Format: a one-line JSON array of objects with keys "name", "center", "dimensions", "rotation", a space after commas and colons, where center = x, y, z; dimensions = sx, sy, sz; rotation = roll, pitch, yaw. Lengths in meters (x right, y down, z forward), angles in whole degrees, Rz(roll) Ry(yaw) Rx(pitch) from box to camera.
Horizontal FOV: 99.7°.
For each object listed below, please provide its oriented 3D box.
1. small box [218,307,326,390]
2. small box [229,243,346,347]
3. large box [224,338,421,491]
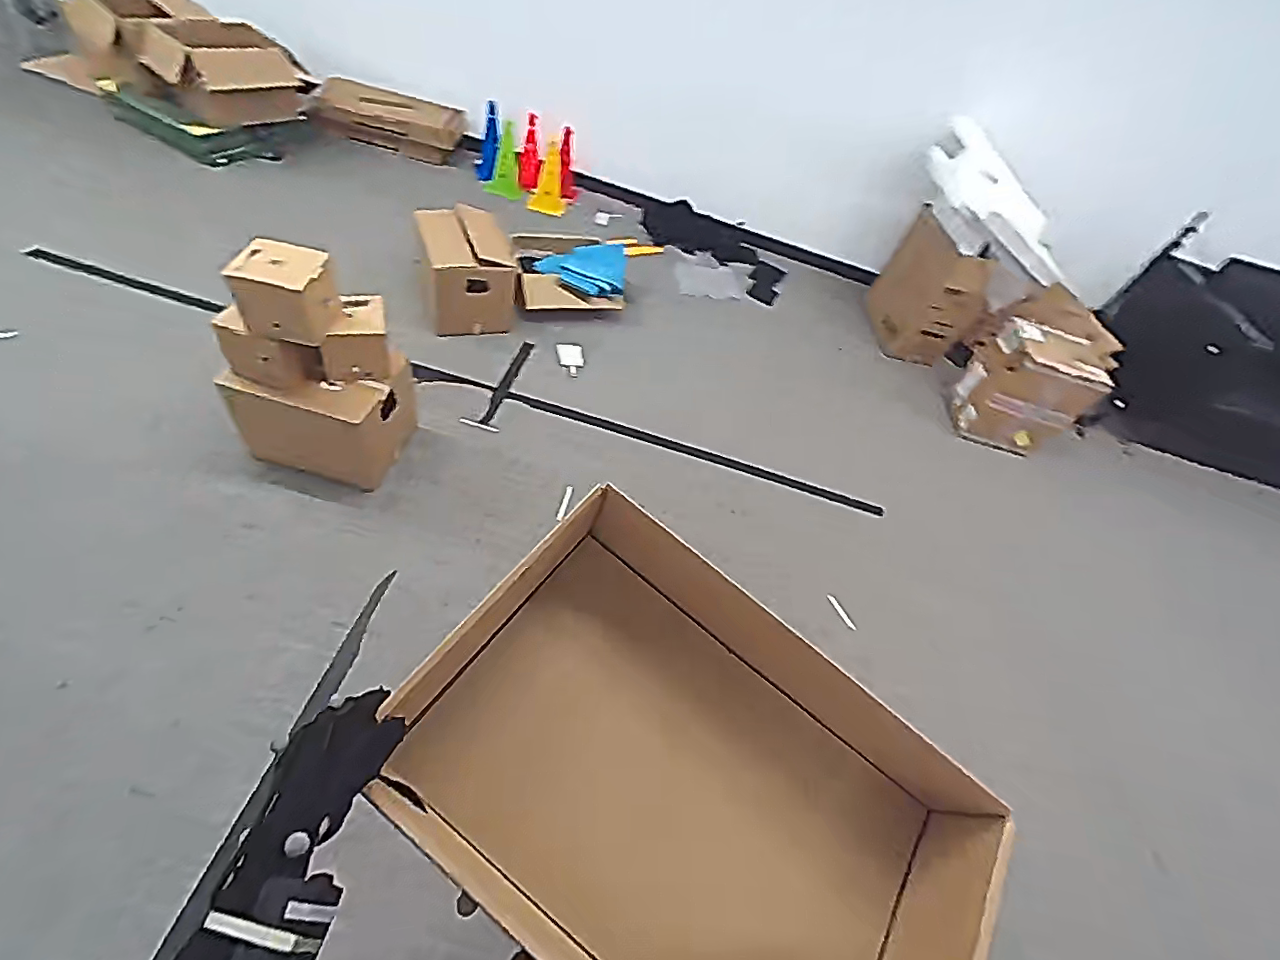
[{"name": "small box", "center": [-0.987, -0.373, 1.473], "dimensions": [0.168, 0.176, 0.179], "rotation": [18, 48, -6]}, {"name": "small box", "center": [-0.871, -0.459, 1.361], "dimensions": [0.179, 0.176, 0.168], "rotation": [12, 50, -7]}, {"name": "large box", "center": [-0.947, -0.214, 1.677], "dimensions": [0.408, 0.320, 0.320], "rotation": [17, 50, -5]}]
